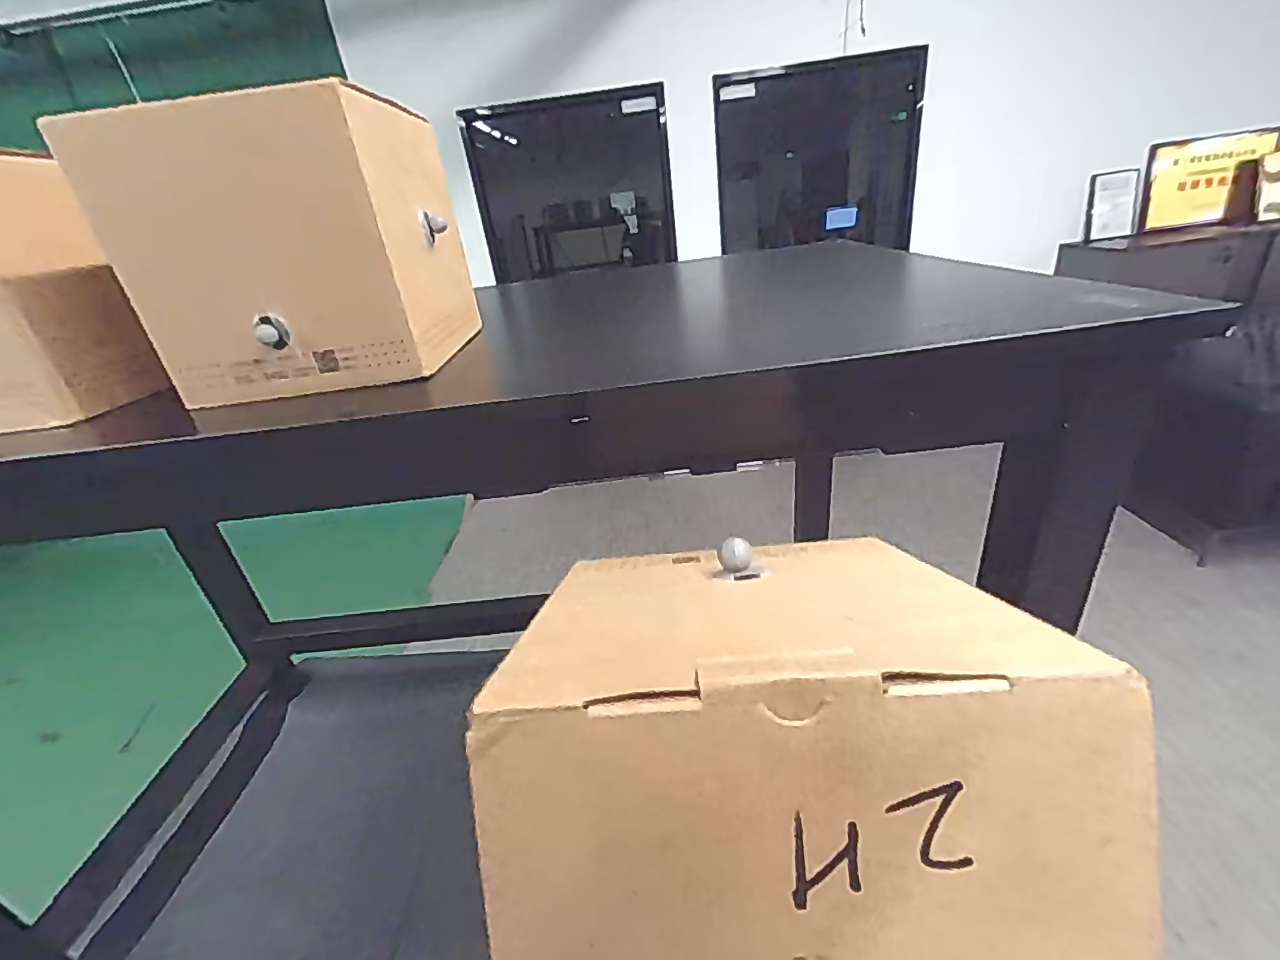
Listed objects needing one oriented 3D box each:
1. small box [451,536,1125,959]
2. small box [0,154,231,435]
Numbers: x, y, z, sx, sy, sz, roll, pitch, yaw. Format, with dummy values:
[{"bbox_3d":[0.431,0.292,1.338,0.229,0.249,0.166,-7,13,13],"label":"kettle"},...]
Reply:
[{"bbox_3d":[0.043,0.129,0.222,0.168,0.179,0.176,-5,5,3],"label":"small box"},{"bbox_3d":[-0.470,-0.136,0.413,0.168,0.176,0.179,-6,26,4],"label":"small box"}]
